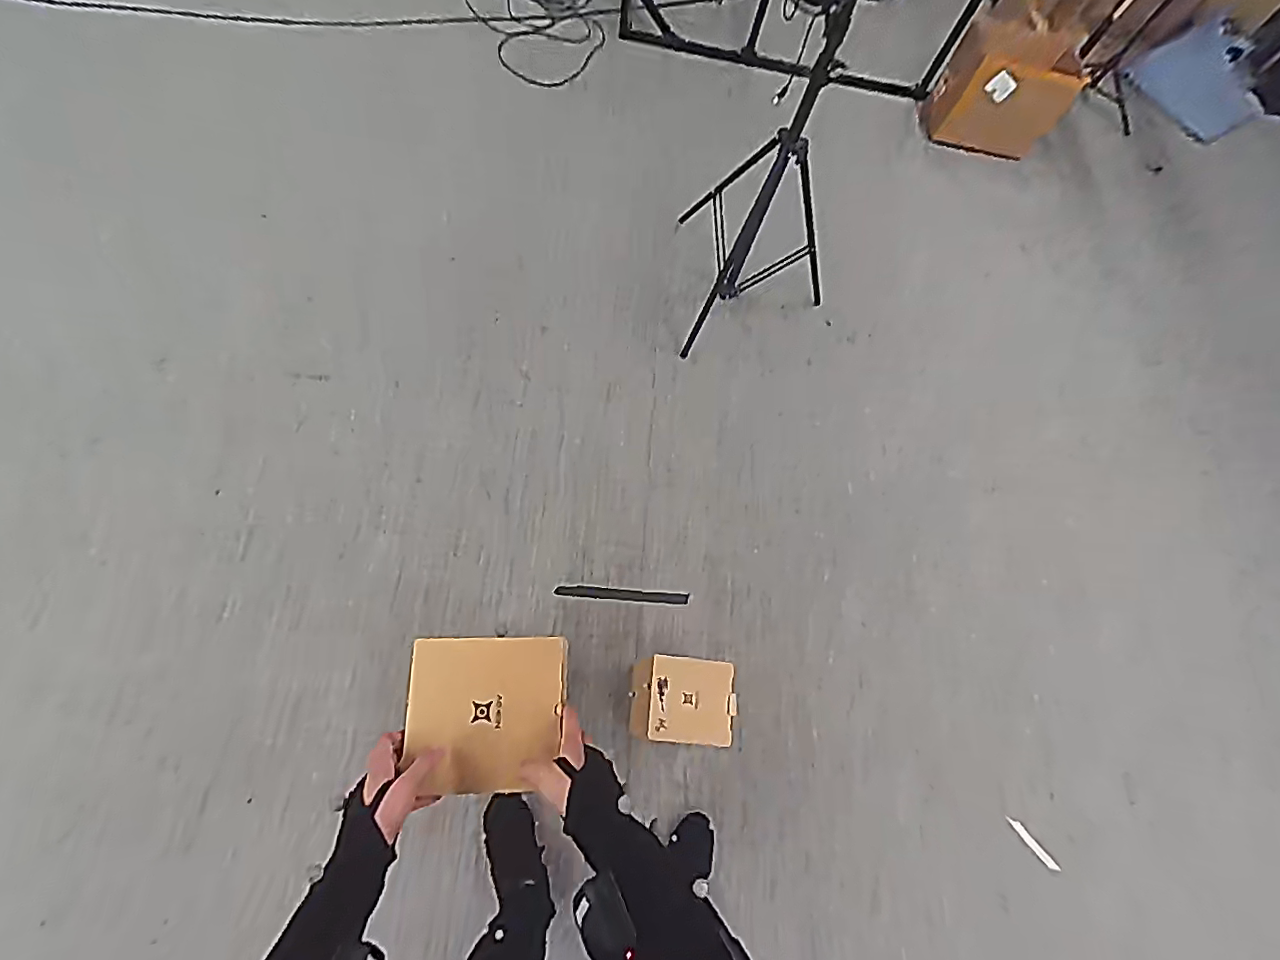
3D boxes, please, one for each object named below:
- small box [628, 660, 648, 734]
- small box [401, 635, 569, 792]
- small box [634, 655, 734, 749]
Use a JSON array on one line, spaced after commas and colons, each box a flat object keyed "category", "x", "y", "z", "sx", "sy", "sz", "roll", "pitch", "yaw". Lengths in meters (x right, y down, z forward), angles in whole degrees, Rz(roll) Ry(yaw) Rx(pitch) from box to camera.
[{"category": "small box", "x": 0.070, "y": 0.546, "z": 1.338, "sx": 0.179, "sy": 0.176, "sz": 0.168, "roll": 8, "pitch": 68, "yaw": -6}, {"category": "small box", "x": -0.182, "y": 0.288, "z": 0.690, "sx": 0.179, "sy": 0.176, "sz": 0.168, "roll": 2, "pitch": 71, "yaw": -8}, {"category": "small box", "x": 0.093, "y": 0.485, "z": 1.188, "sx": 0.179, "sy": 0.176, "sz": 0.168, "roll": 9, "pitch": 67, "yaw": -6}]
